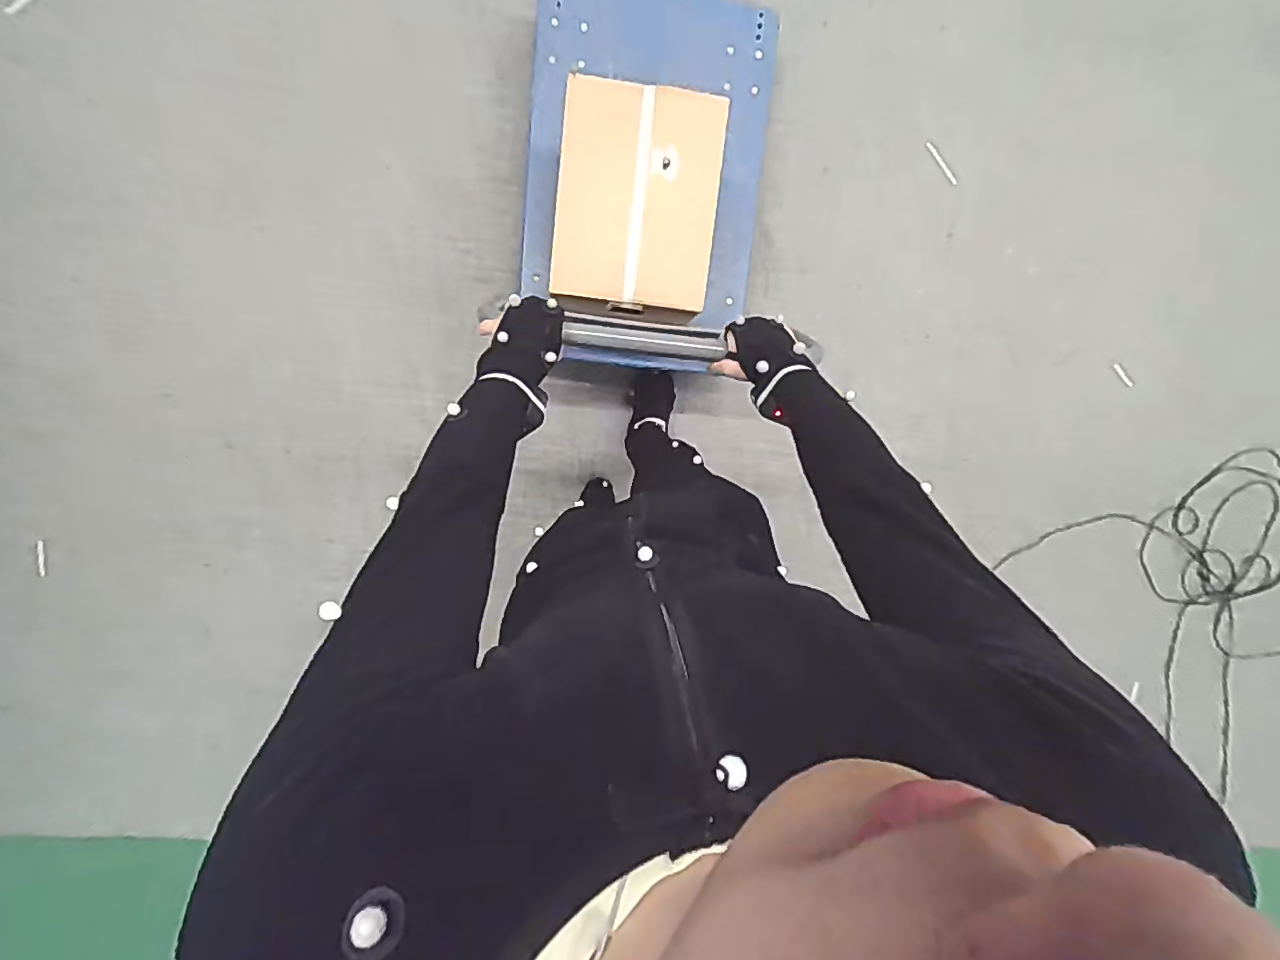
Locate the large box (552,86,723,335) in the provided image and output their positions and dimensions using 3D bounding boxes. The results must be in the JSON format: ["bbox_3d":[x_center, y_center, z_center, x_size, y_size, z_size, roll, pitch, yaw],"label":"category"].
[{"bbox_3d":[-0.014,-0.565,1.218,0.320,0.320,0.408,6,96,-5],"label":"large box"}]
